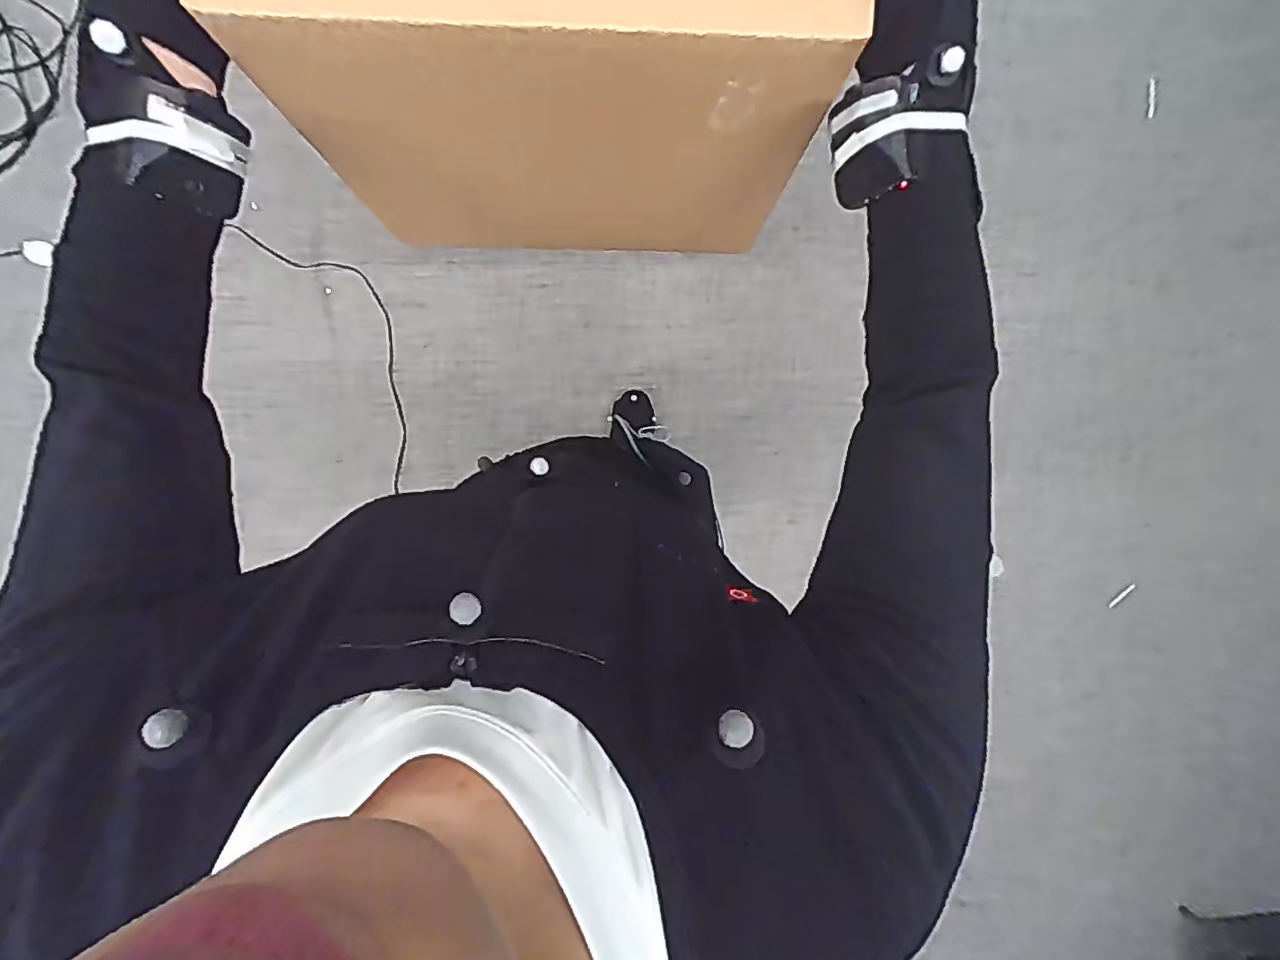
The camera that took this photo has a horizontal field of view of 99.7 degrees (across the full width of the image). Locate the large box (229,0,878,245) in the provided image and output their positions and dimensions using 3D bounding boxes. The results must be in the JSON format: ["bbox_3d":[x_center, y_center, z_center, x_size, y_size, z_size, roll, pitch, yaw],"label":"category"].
[{"bbox_3d":[-0.059,-0.426,0.480,0.408,0.320,0.320,0,90,-4],"label":"large box"}]
